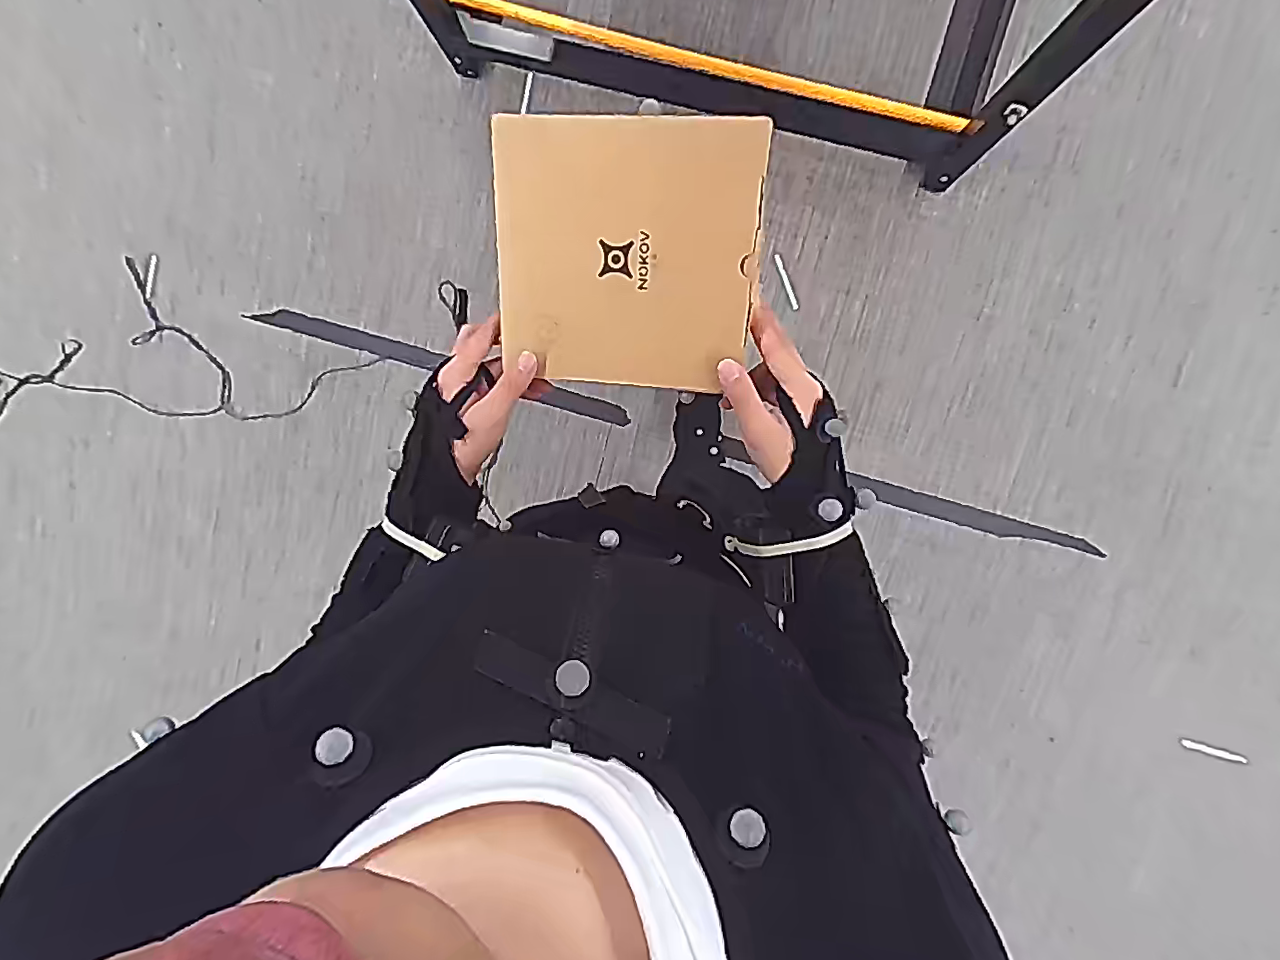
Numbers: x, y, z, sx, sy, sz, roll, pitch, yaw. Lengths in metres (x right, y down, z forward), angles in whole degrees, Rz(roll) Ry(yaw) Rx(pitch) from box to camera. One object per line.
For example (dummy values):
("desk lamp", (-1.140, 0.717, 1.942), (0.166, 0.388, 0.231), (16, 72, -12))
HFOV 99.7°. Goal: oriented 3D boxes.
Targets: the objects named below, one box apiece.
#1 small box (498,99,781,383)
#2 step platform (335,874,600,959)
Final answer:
("small box", (0.004, -0.176, 0.426), (0.179, 0.176, 0.168), (5, 110, 7))
("step platform", (-0.463, 1.338, 1.438), (0.684, 0.204, 0.286), (15, 97, 2))
